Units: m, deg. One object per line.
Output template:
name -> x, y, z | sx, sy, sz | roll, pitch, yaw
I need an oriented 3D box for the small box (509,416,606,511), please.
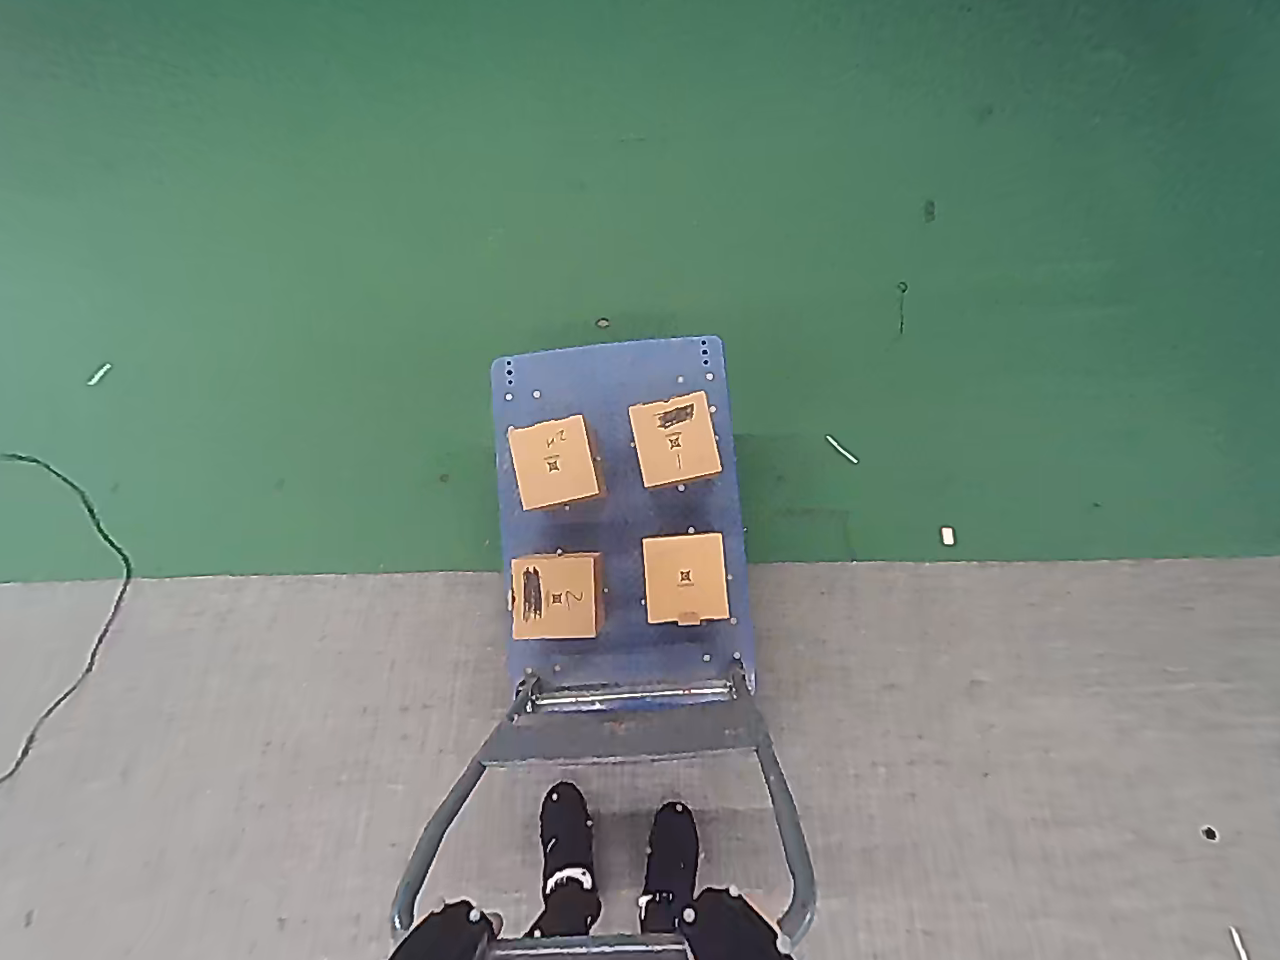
small box -> -0.177, -0.031, 1.217 | 0.168, 0.176, 0.179 | -12, 85, 2

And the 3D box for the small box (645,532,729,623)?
small box -> 0.099, 0.206, 1.186 | 0.168, 0.176, 0.179 | -5, 86, 3

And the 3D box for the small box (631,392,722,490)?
small box -> 0.078, -0.080, 1.205 | 0.168, 0.176, 0.179 | -12, 86, 3
